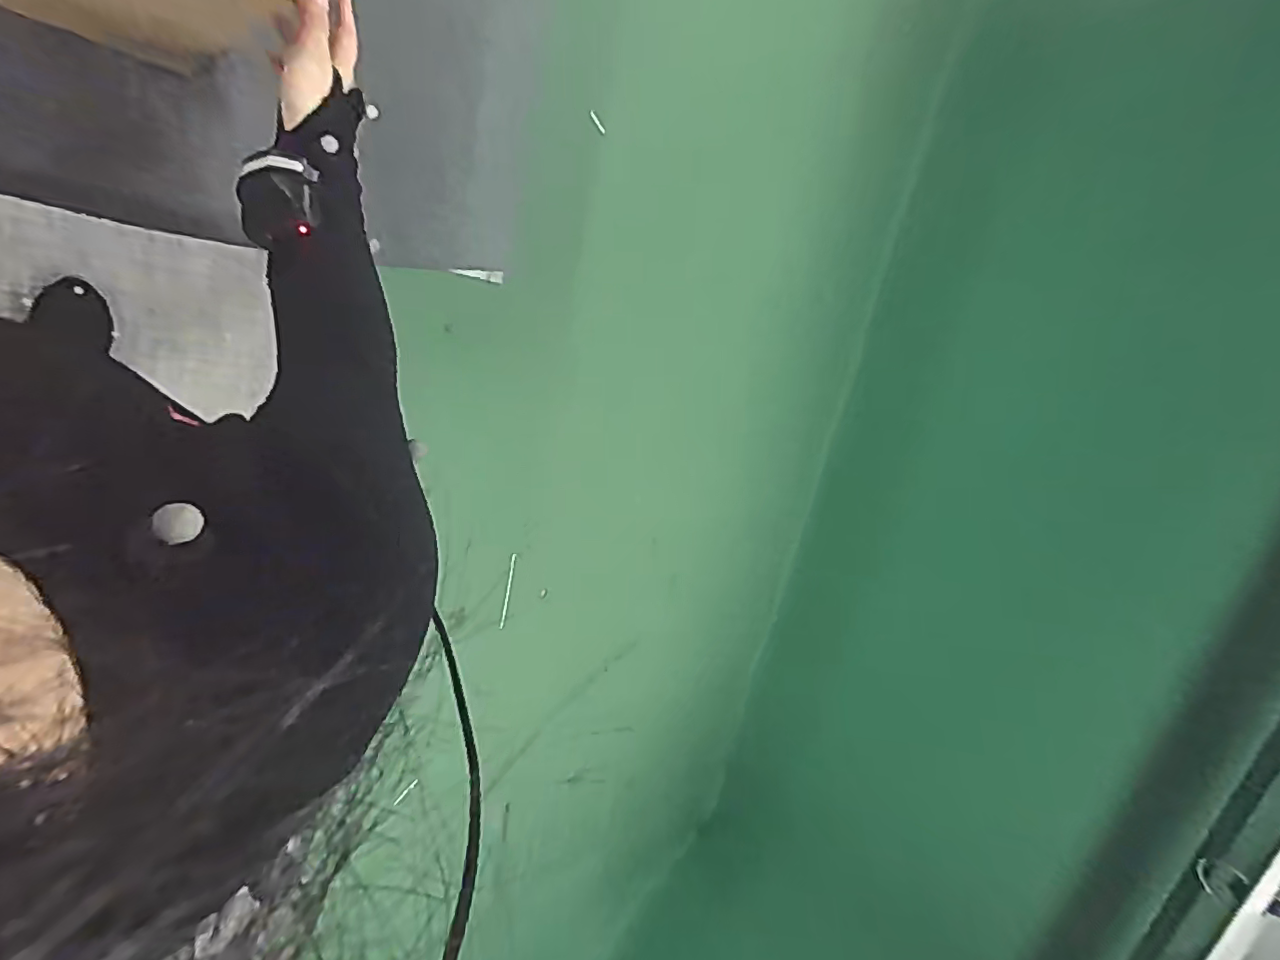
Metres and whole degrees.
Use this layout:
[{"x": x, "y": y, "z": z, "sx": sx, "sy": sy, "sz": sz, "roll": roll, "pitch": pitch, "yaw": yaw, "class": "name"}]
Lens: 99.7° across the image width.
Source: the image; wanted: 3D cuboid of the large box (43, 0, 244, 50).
[{"x": -0.439, "y": -0.487, "z": 0.244, "sx": 0.408, "sy": 0.320, "sz": 0.320, "roll": -7, "pitch": 115, "yaw": -48, "class": "large box"}]
